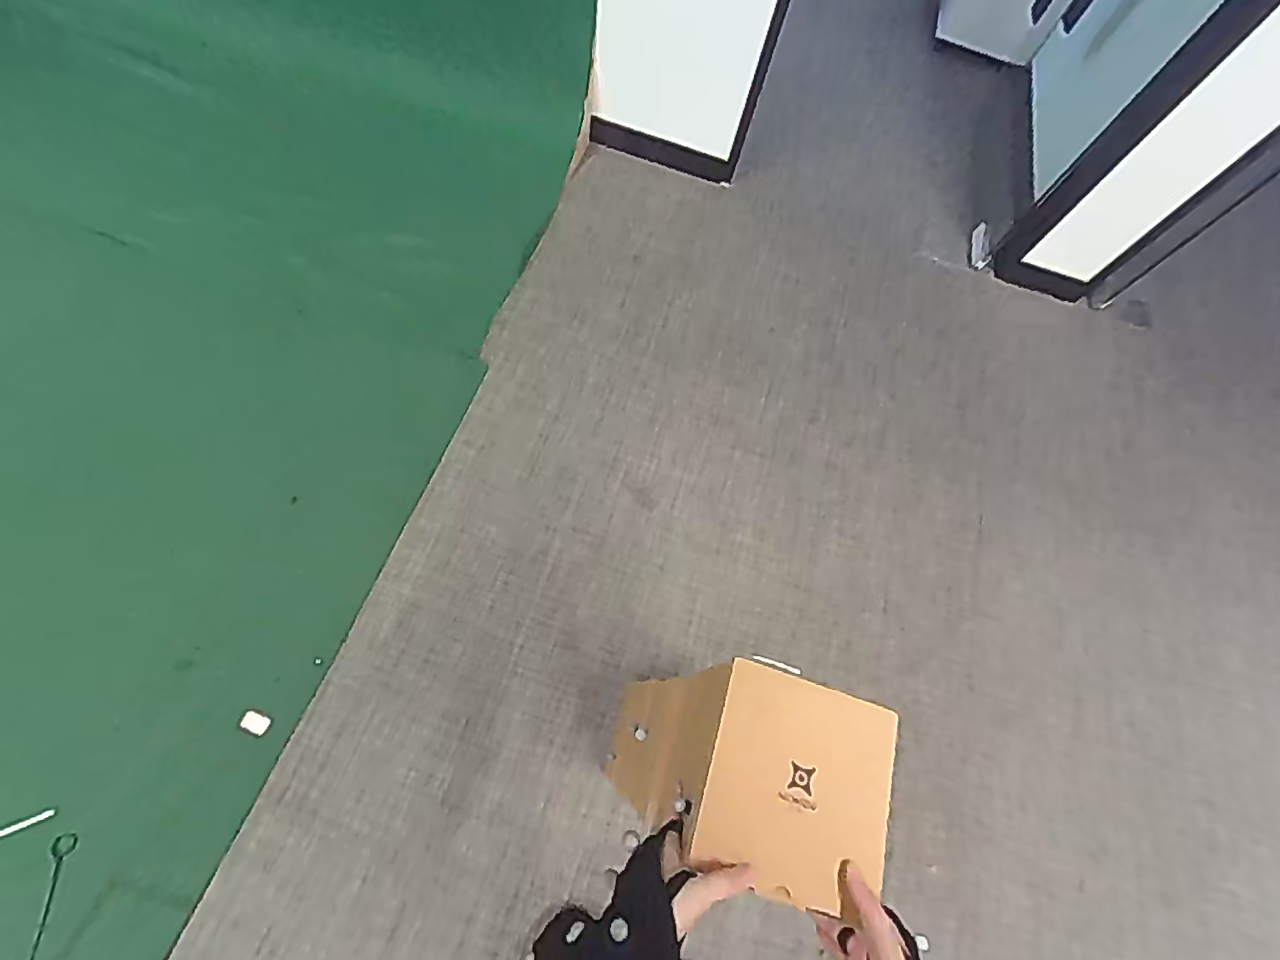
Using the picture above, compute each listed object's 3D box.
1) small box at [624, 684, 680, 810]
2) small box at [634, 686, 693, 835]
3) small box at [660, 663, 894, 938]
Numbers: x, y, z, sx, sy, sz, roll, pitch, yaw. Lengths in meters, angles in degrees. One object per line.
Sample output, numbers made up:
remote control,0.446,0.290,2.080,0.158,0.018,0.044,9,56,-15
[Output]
small box,0.075,0.443,0.876,0.168,0.176,0.179,15,66,-1
small box,0.101,0.385,0.724,0.179,0.176,0.168,16,66,0
small box,0.128,0.305,0.548,0.168,0.176,0.179,19,65,0
